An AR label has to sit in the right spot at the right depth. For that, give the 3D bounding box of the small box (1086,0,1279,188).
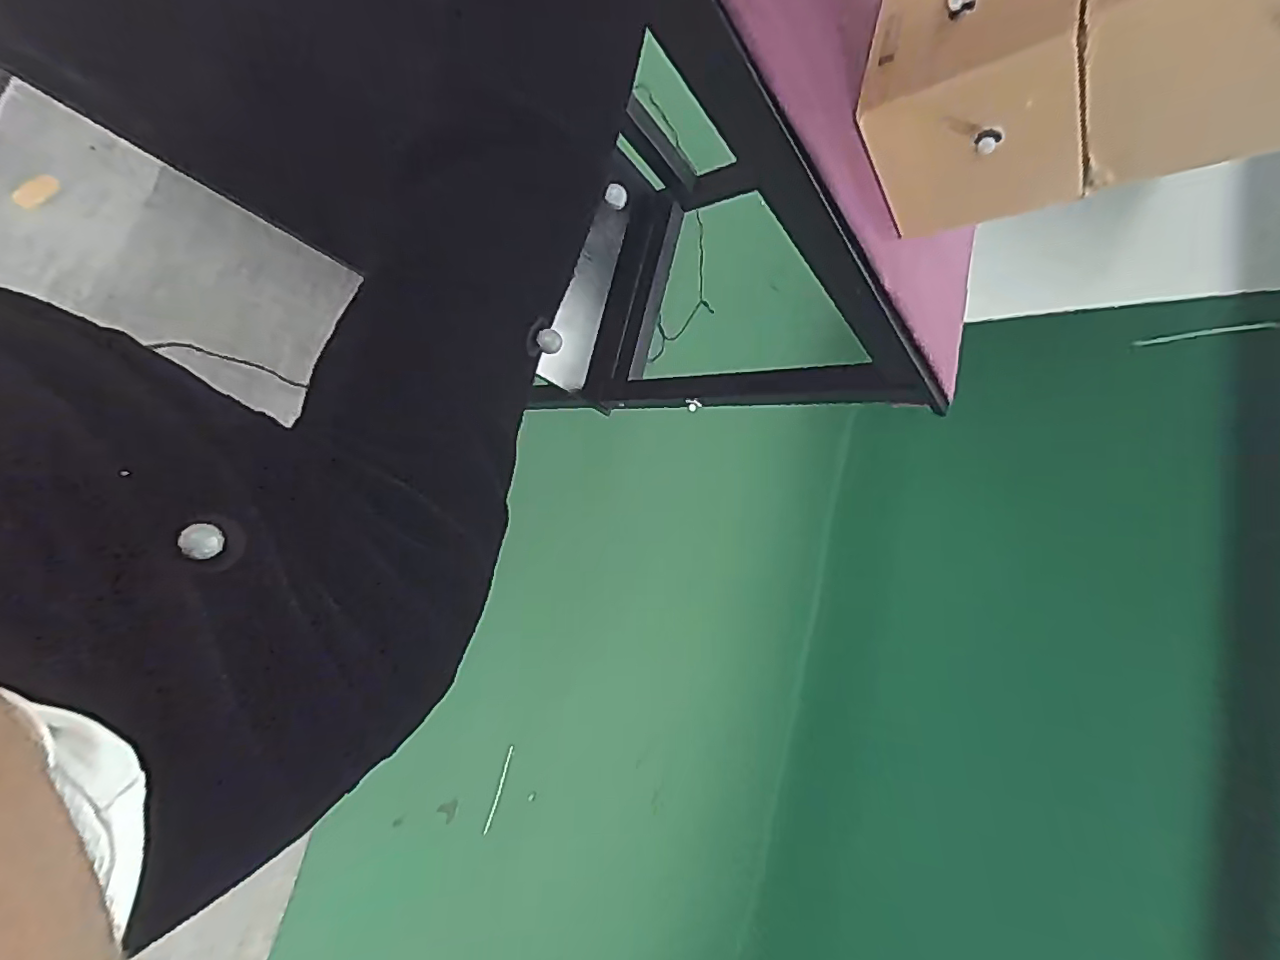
[{"bbox_3d":[0.451,-0.363,0.409,0.179,0.176,0.168,32,71,-44],"label":"small box"}]

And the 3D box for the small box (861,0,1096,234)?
[{"bbox_3d":[0.333,-0.371,0.522,0.179,0.176,0.168,30,72,-44],"label":"small box"}]
